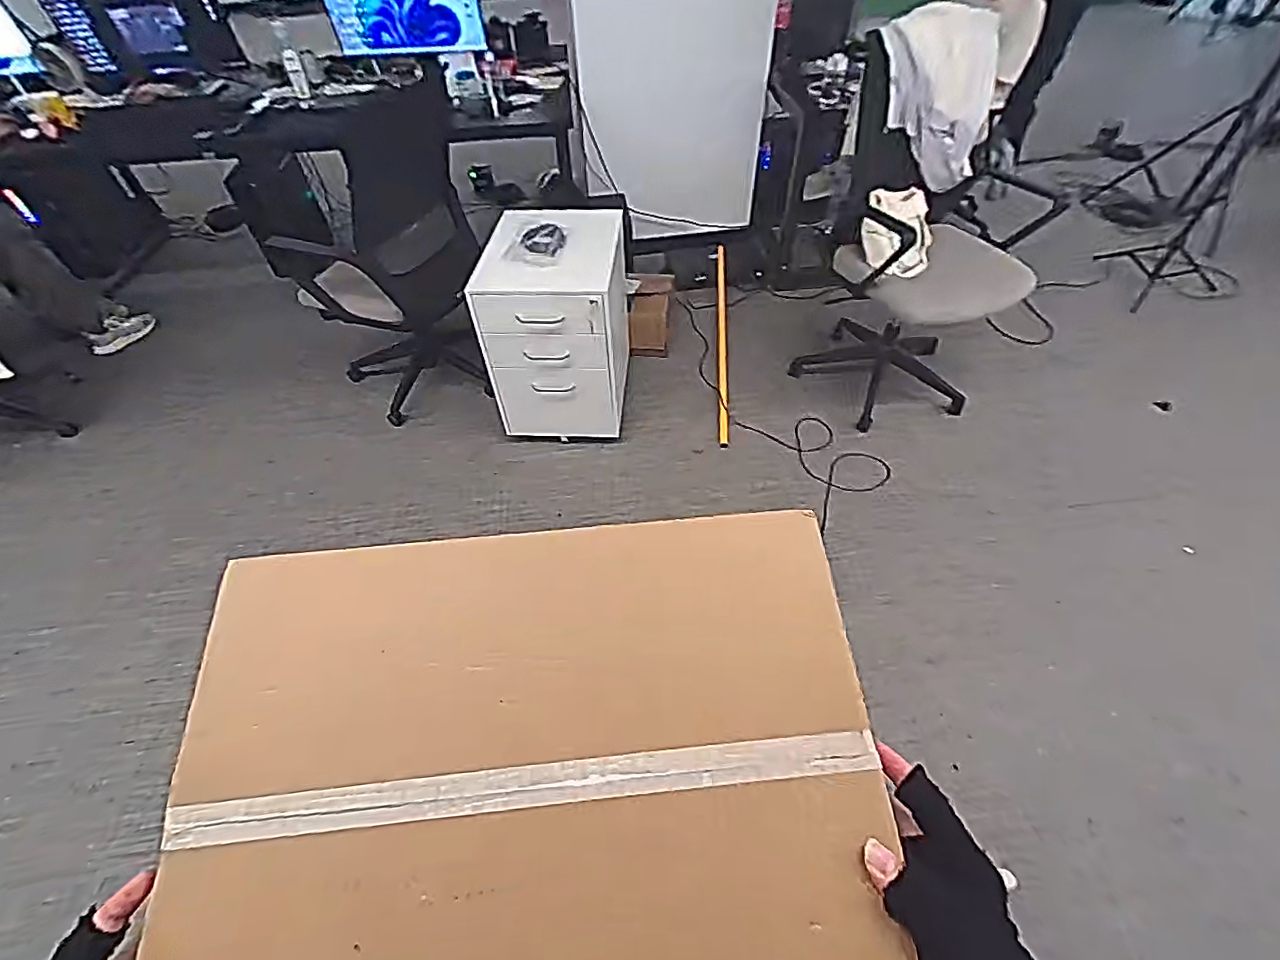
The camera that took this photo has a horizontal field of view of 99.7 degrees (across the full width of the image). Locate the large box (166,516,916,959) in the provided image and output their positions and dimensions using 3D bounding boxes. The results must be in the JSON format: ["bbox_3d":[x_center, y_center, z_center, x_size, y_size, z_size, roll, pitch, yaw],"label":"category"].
[{"bbox_3d":[-0.061,0.247,0.457,0.408,0.320,0.320,-5,65,-2],"label":"large box"}]
